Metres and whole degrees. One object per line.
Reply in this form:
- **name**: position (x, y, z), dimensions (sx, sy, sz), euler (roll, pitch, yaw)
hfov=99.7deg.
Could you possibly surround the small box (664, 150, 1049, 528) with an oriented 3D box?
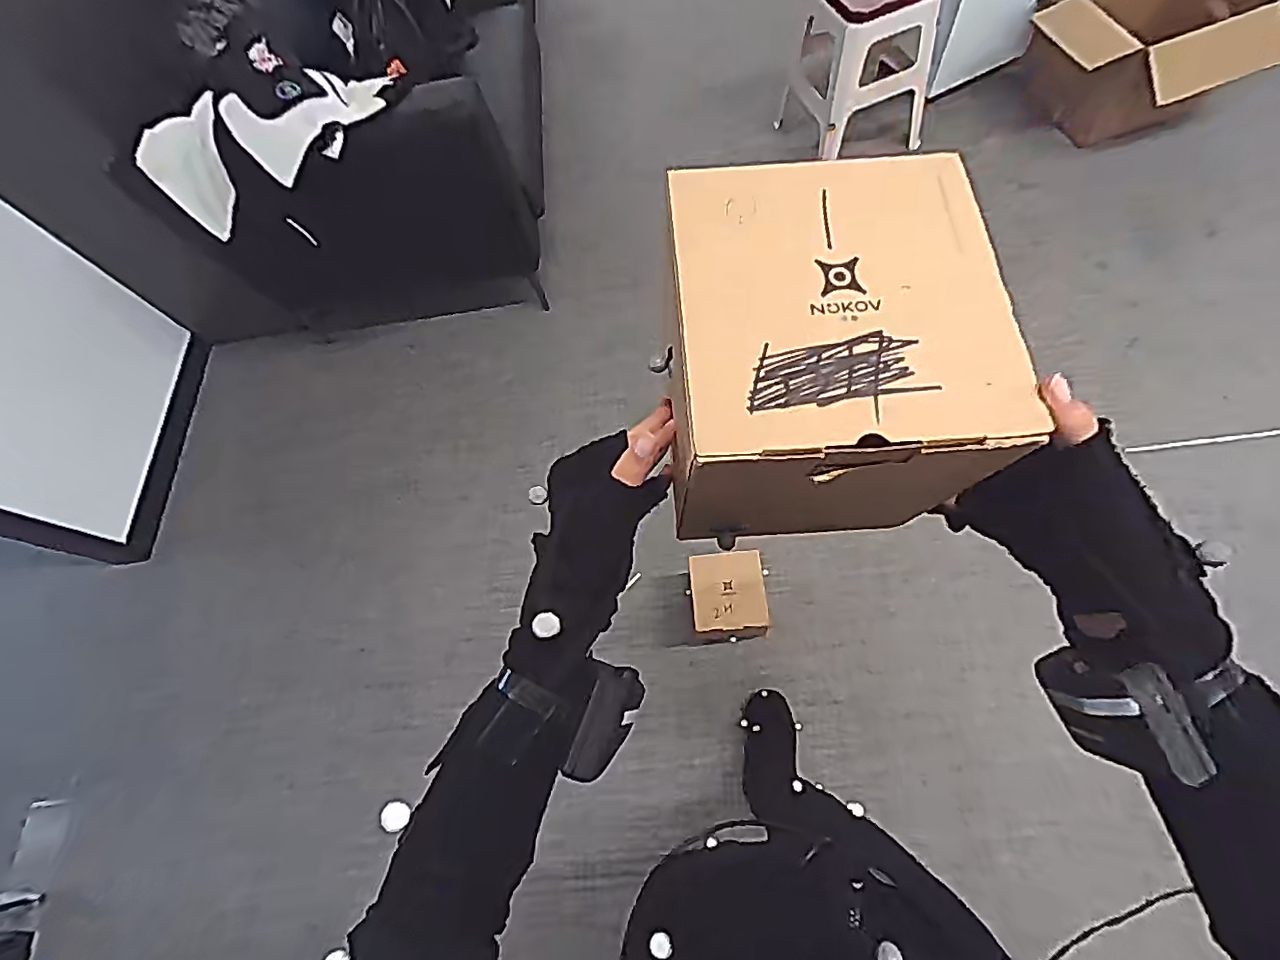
- **small box**: position (0.103, -0.070, 0.348), dimensions (0.168, 0.176, 0.179), euler (-4, 71, 0)

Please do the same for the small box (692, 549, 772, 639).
- **small box**: position (0.214, 0.276, 1.294), dimensions (0.168, 0.176, 0.179), euler (-7, 67, 6)
